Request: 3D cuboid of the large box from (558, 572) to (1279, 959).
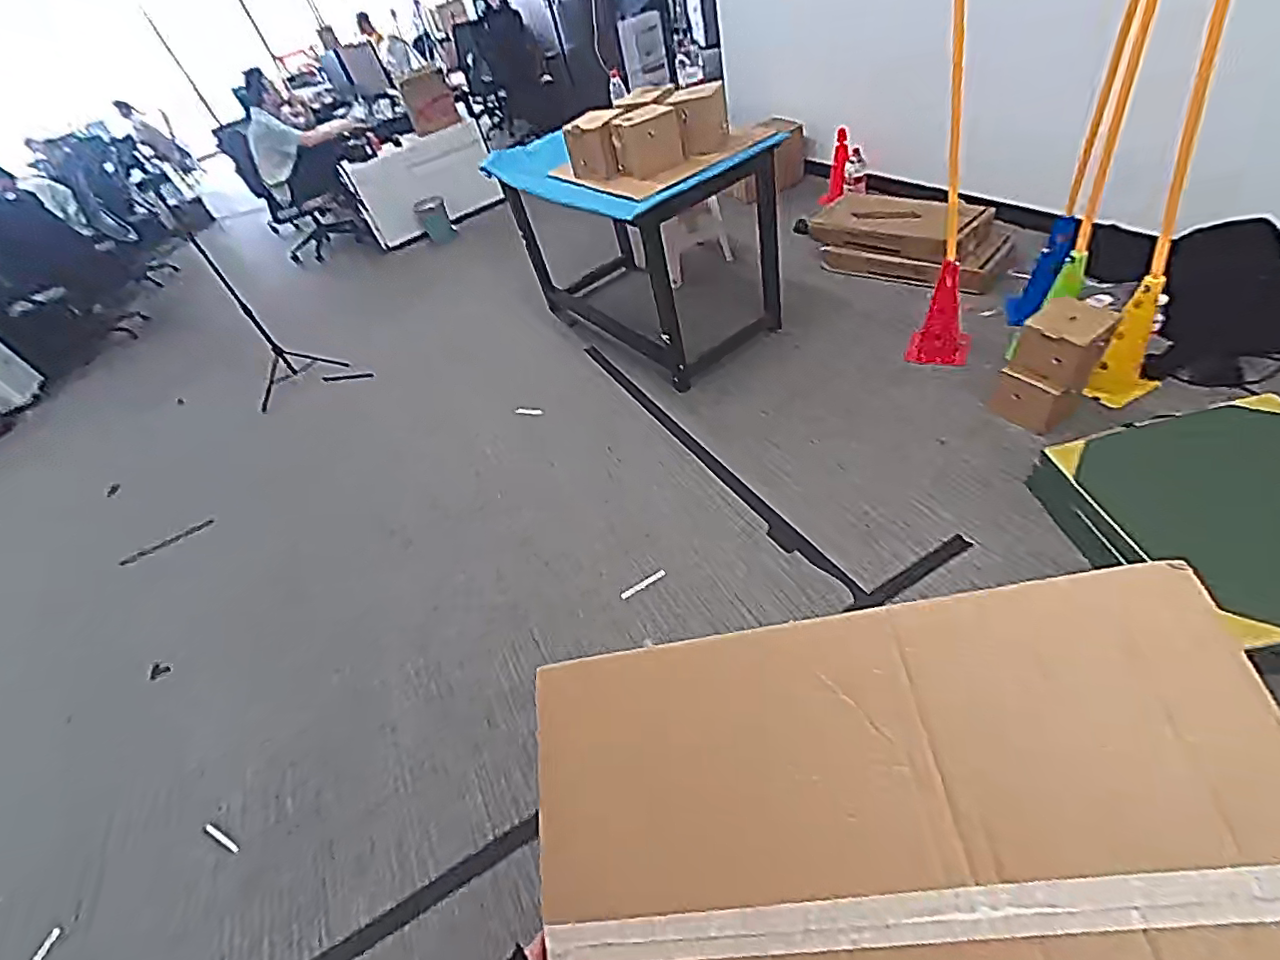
[{"bbox_3d":[0.186,0.297,0.421,0.408,0.320,0.320,-13,63,11],"label":"large box"}]
